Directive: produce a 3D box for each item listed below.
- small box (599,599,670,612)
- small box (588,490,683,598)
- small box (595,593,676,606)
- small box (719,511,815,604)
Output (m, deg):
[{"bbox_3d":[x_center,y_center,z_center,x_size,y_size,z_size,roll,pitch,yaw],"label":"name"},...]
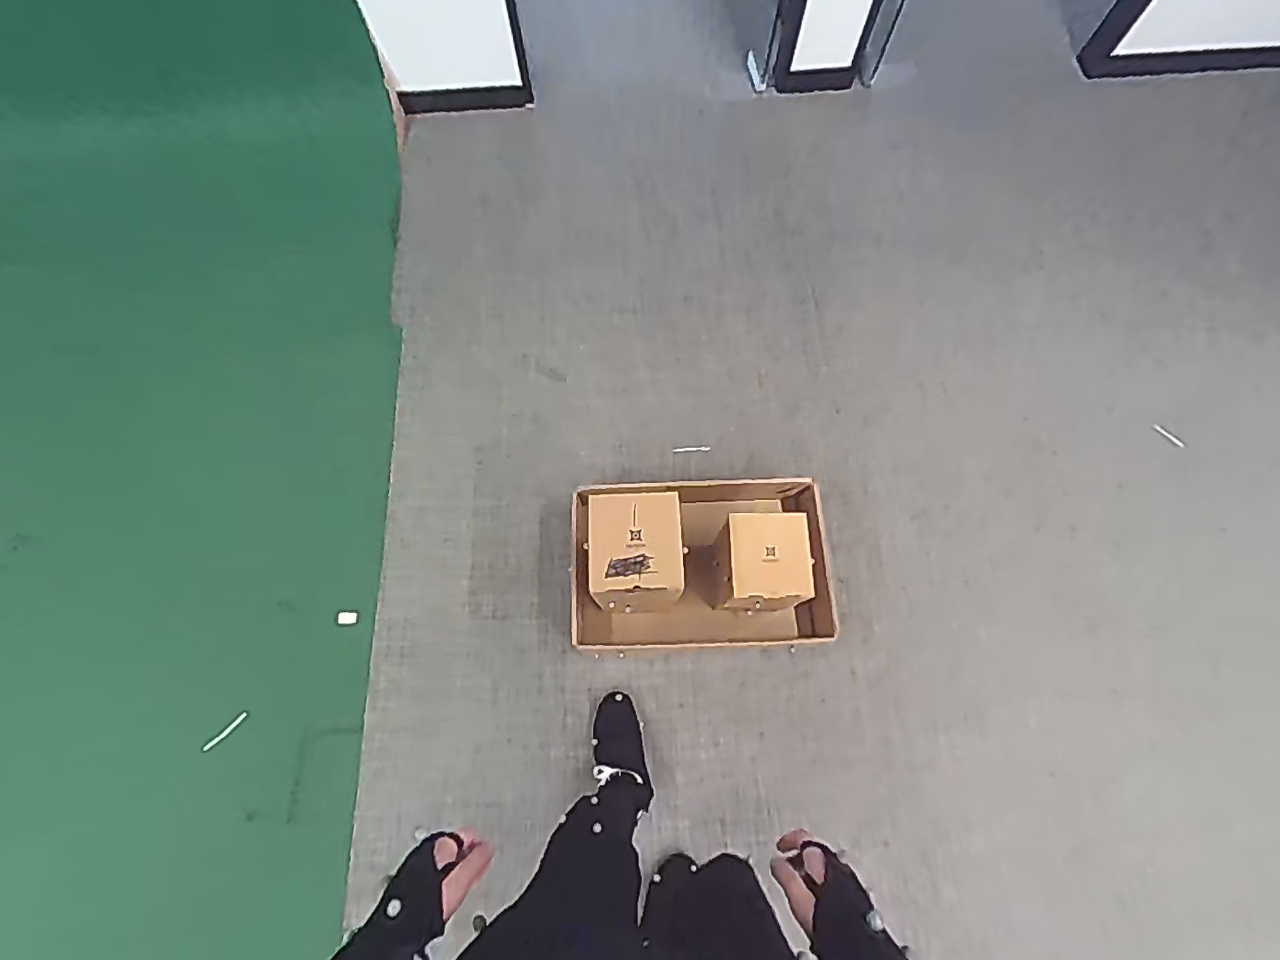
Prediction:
[{"bbox_3d":[-0.012,0.225,1.330,0.168,0.176,0.179,0,71,0],"label":"small box"},{"bbox_3d":[-0.008,0.127,1.018,0.168,0.176,0.179,-2,71,-1],"label":"small box"},{"bbox_3d":[-0.010,0.176,1.175,0.168,0.176,0.179,0,72,-1],"label":"small box"},{"bbox_3d":[0.267,0.173,1.179,0.168,0.176,0.179,0,73,0],"label":"small box"}]
